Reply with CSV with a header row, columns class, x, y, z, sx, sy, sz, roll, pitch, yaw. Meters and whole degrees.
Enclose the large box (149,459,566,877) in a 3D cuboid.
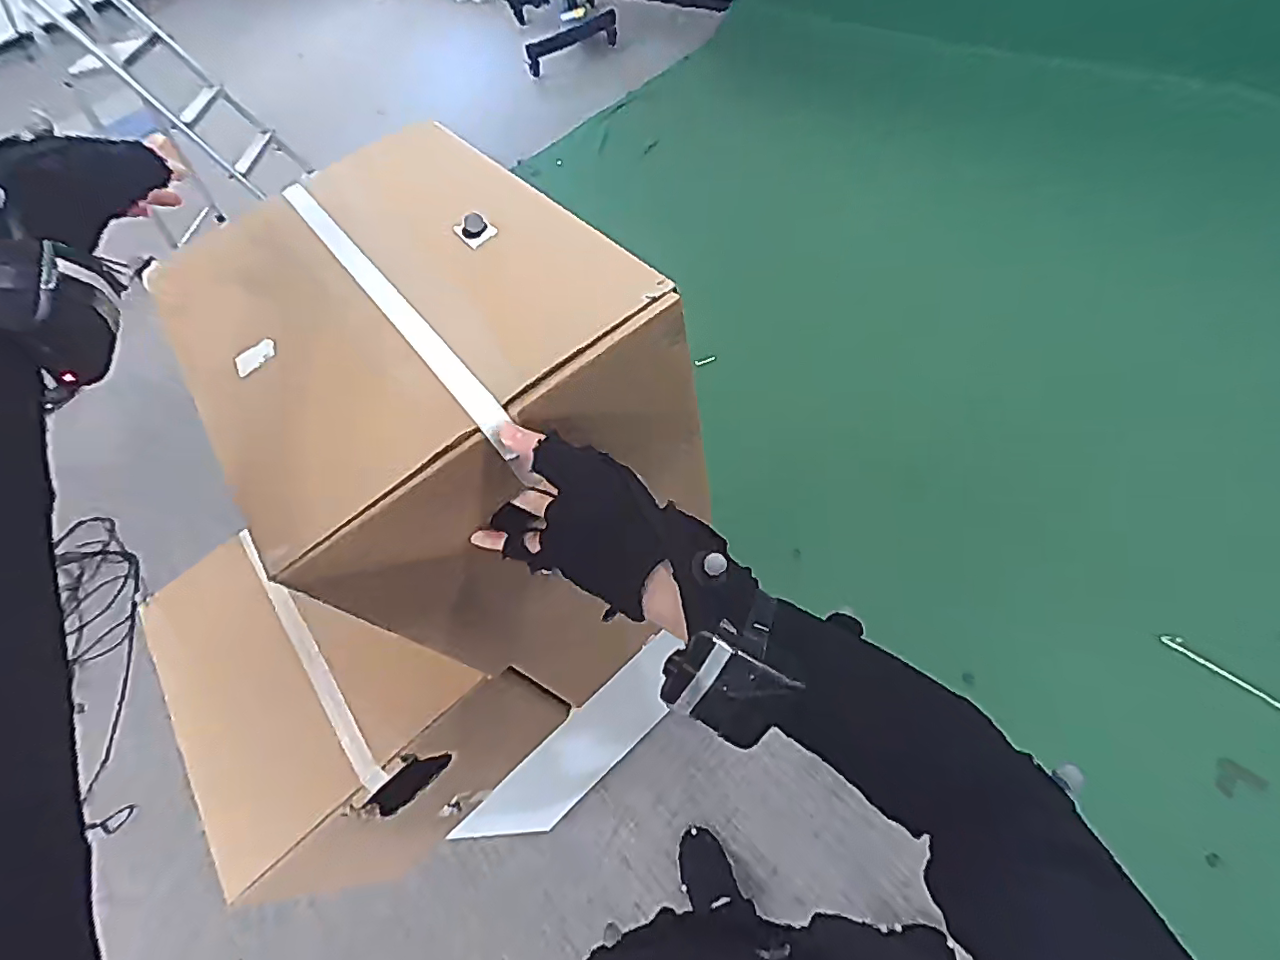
class,x,y,z,sx,sy,sz,roll,pitch,yaw
large box,-0.373,0.252,0.769,0.320,0.320,0.408,-40,59,-15
